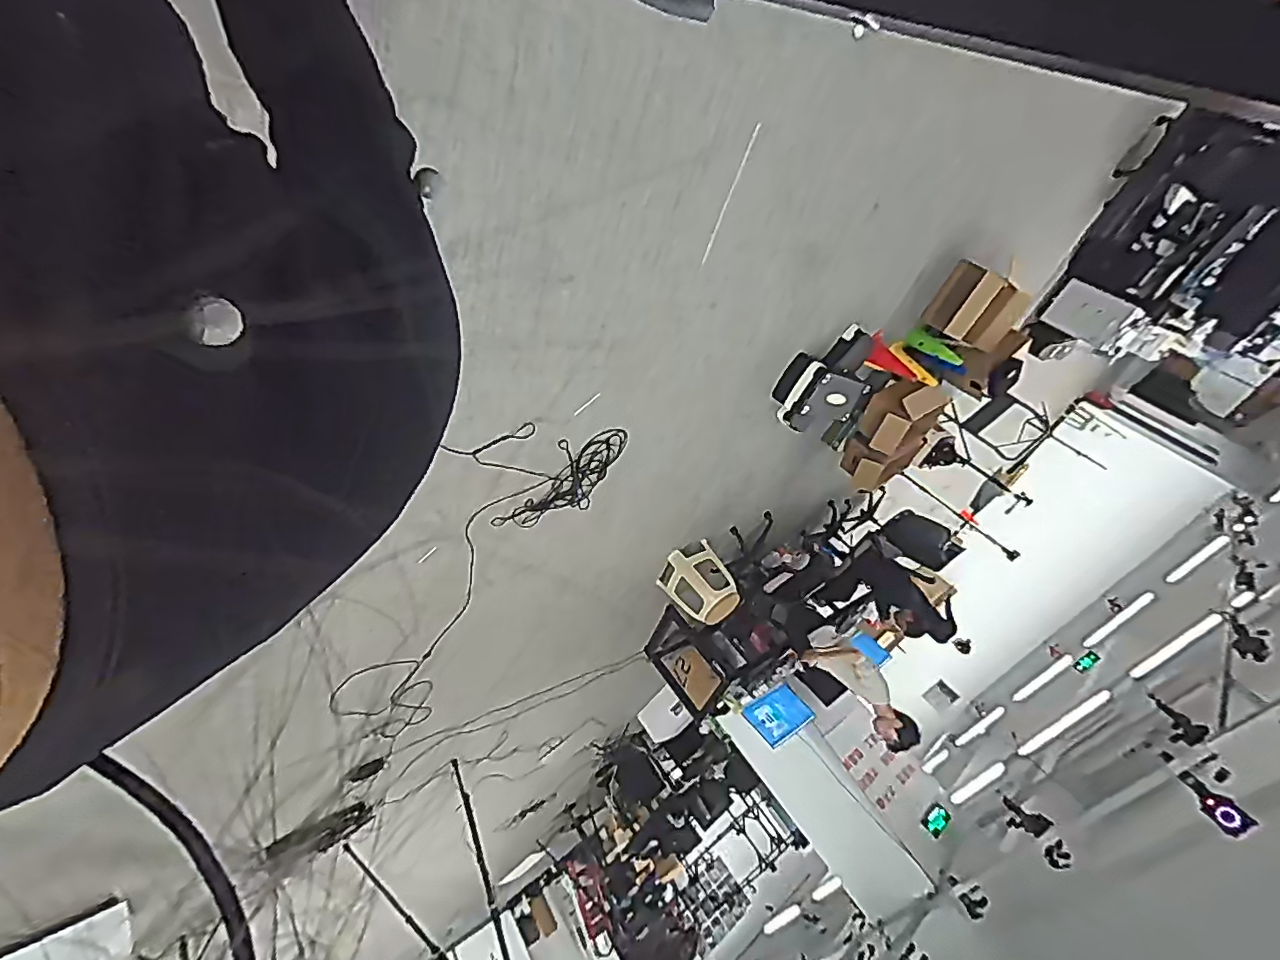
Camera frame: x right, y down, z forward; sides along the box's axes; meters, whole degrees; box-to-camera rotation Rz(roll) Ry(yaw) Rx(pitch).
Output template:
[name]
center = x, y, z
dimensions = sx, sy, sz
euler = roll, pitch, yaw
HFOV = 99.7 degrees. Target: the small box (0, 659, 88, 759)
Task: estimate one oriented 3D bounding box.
[small box]
center = -1.684, 0.626, 1.504
dimensions = 0.168, 0.176, 0.179
euler = -16, 140, -35
